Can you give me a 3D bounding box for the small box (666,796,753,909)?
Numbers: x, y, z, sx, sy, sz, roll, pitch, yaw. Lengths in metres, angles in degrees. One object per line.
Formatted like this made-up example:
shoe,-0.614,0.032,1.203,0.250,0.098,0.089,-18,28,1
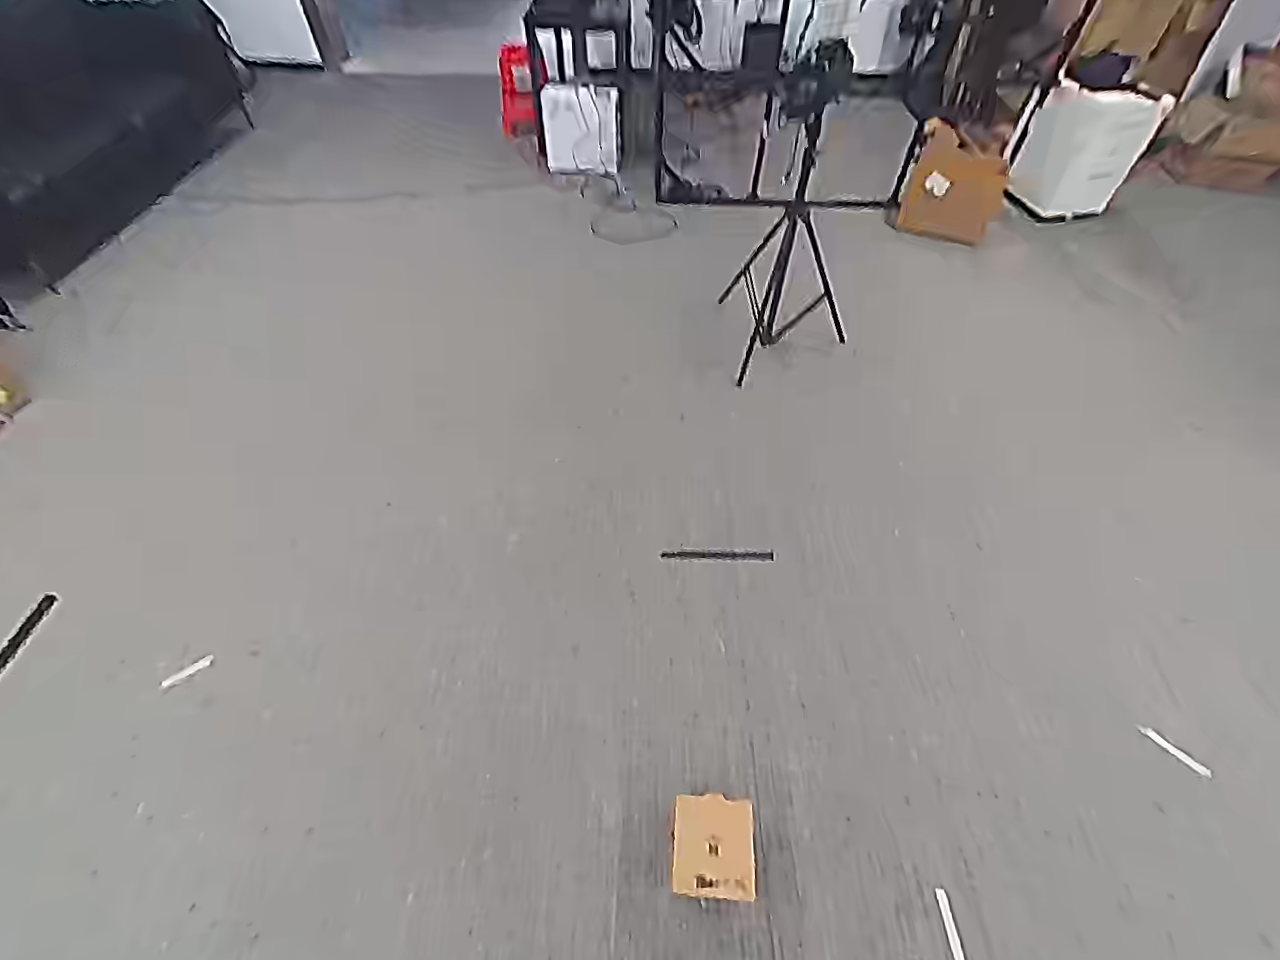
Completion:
small box,0.145,0.809,1.171,0.168,0.176,0.179,5,50,3
